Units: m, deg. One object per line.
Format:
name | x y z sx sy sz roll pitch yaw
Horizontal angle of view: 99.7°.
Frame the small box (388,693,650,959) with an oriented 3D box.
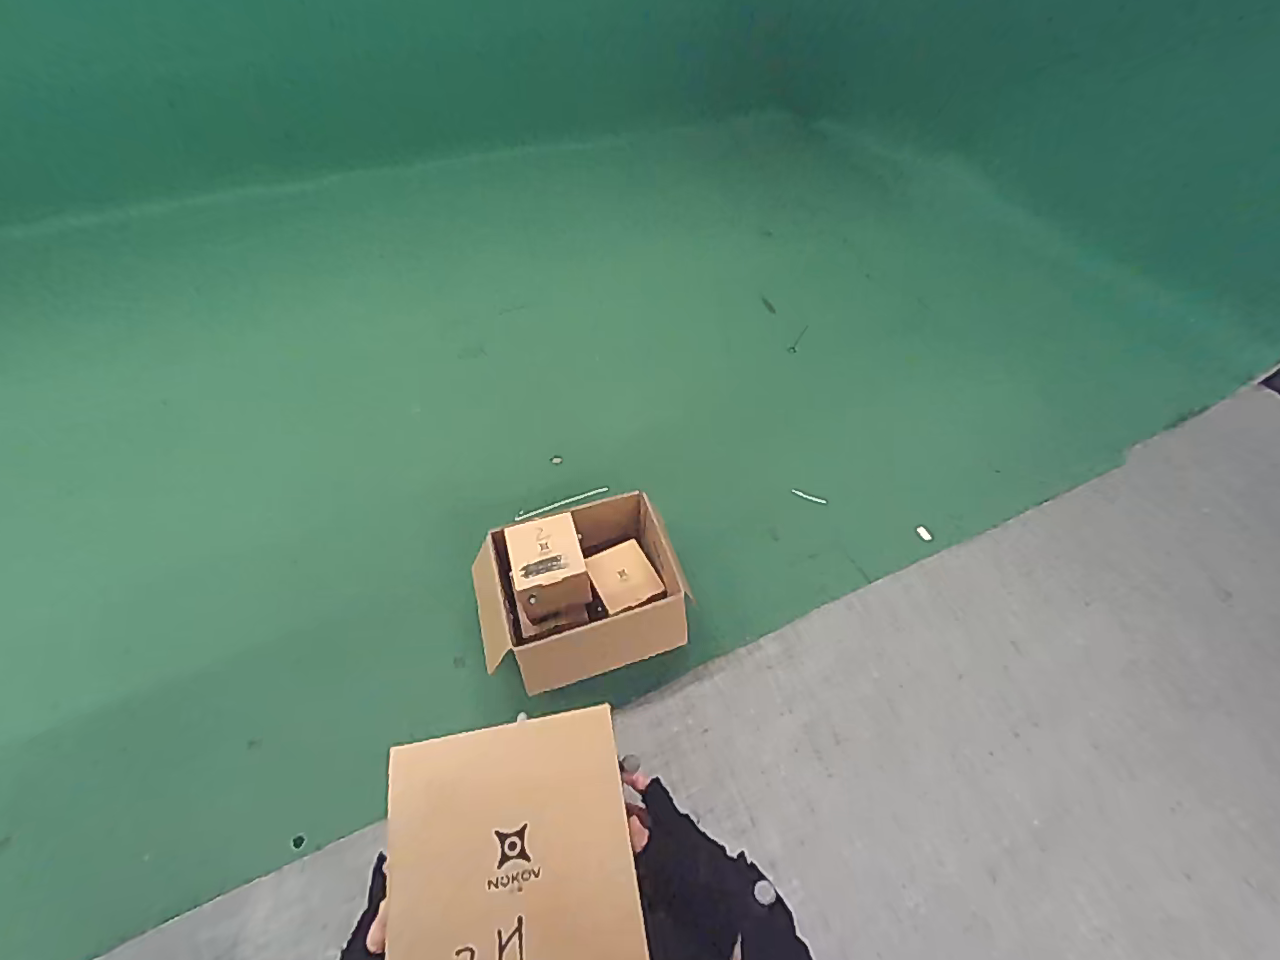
small box | -0.093 0.292 0.443 0.168 0.176 0.179 -8 62 -8
